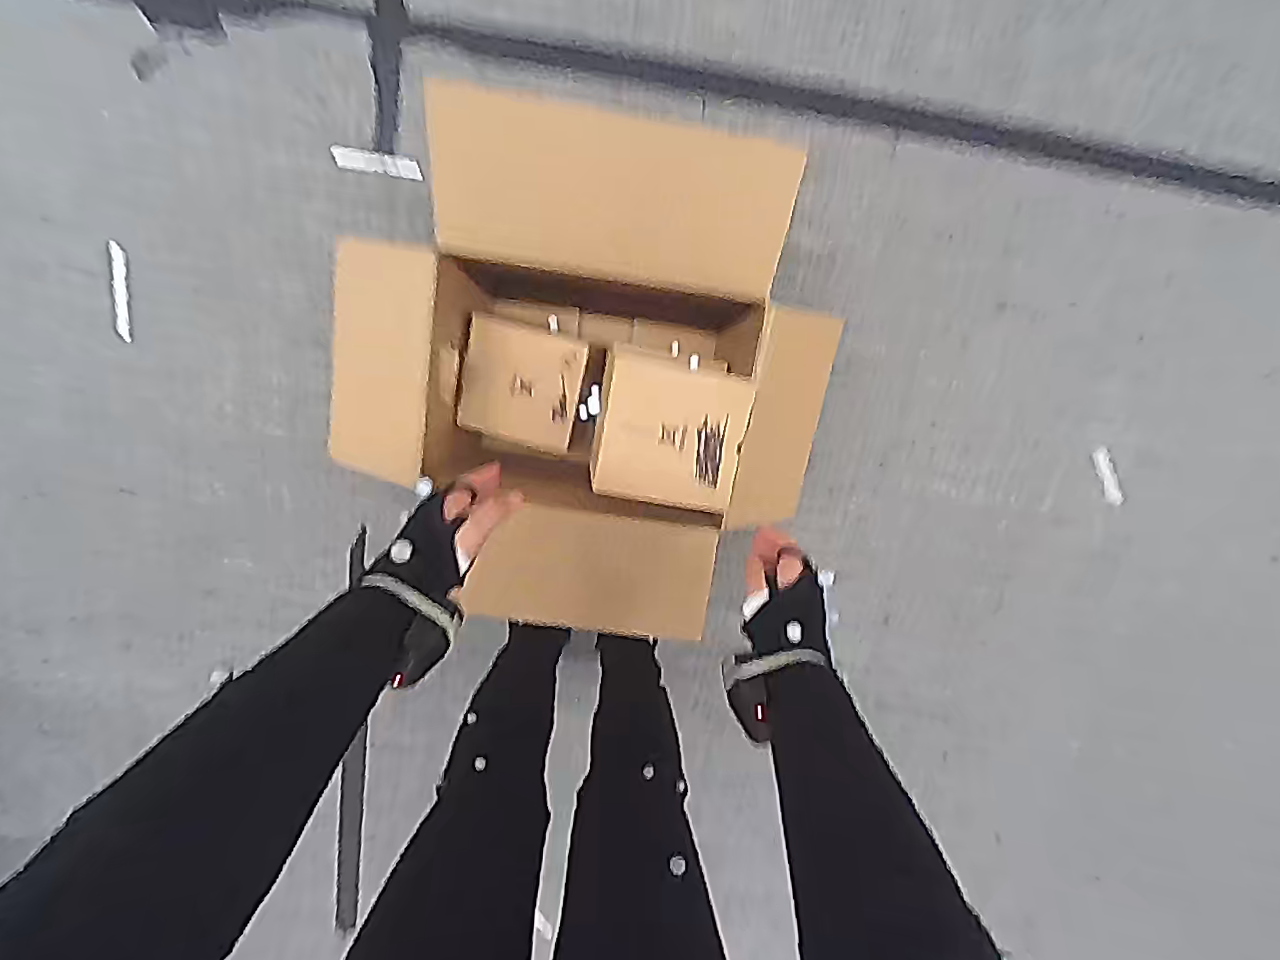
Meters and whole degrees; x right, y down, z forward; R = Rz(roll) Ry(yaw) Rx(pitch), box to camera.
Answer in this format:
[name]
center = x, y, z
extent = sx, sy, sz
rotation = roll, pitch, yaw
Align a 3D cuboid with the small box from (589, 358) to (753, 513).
[small box]
center = 0.030, -0.069, 0.735
extent = 0.179, 0.176, 0.168
rotation = 10, 103, -8
